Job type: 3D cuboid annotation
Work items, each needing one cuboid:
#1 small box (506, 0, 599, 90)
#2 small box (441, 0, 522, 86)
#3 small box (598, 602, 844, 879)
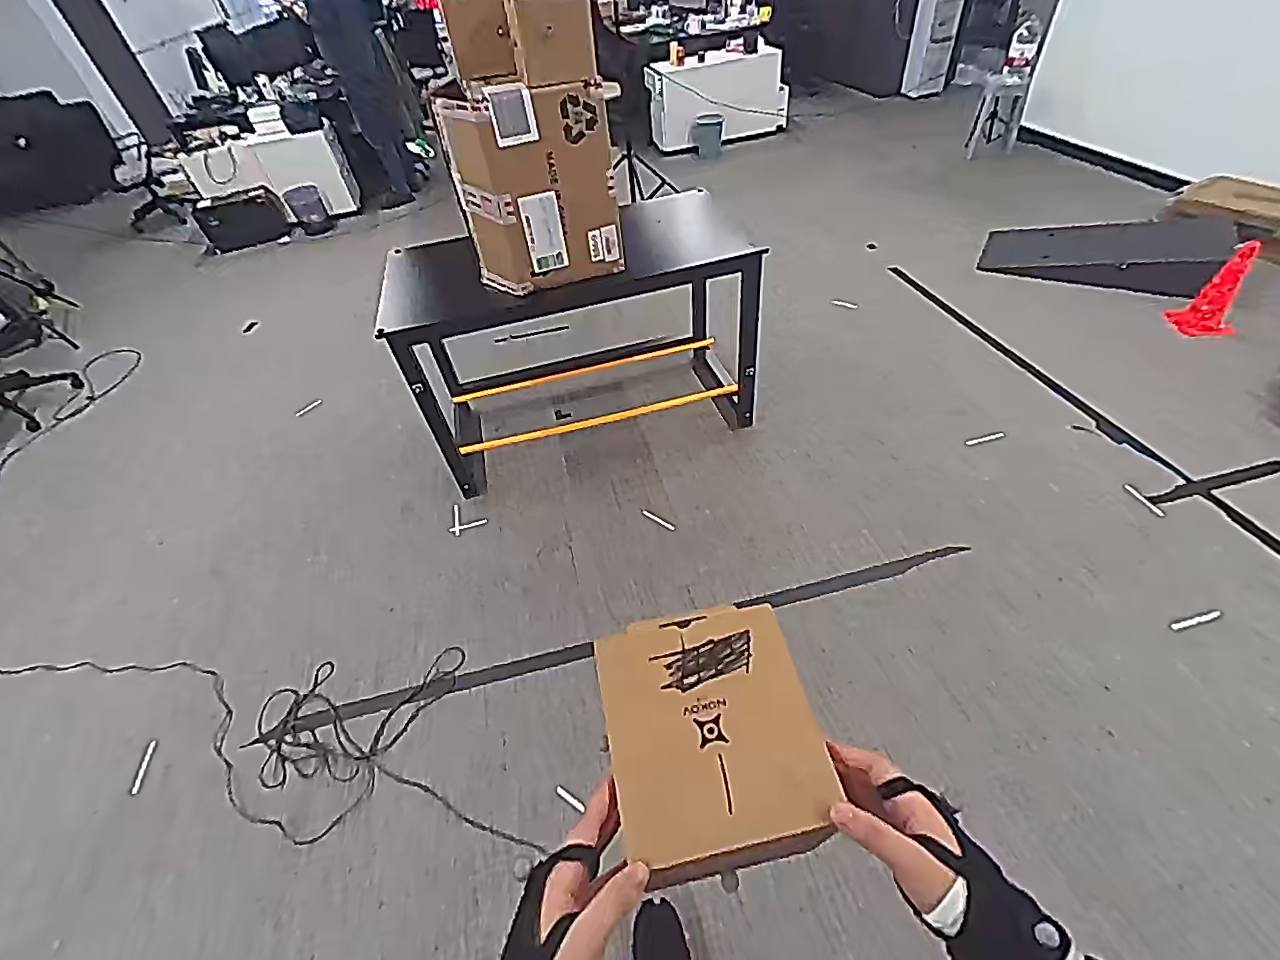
[{"bbox_3d":[-0.212,-1.075,1.320,0.179,0.176,0.168,-16,48,-9],"label":"small box"},{"bbox_3d":[-0.413,-1.173,1.439,0.179,0.176,0.168,-16,43,-9],"label":"small box"},{"bbox_3d":[0.060,0.243,0.504,0.168,0.176,0.179,-11,50,-4],"label":"small box"}]
